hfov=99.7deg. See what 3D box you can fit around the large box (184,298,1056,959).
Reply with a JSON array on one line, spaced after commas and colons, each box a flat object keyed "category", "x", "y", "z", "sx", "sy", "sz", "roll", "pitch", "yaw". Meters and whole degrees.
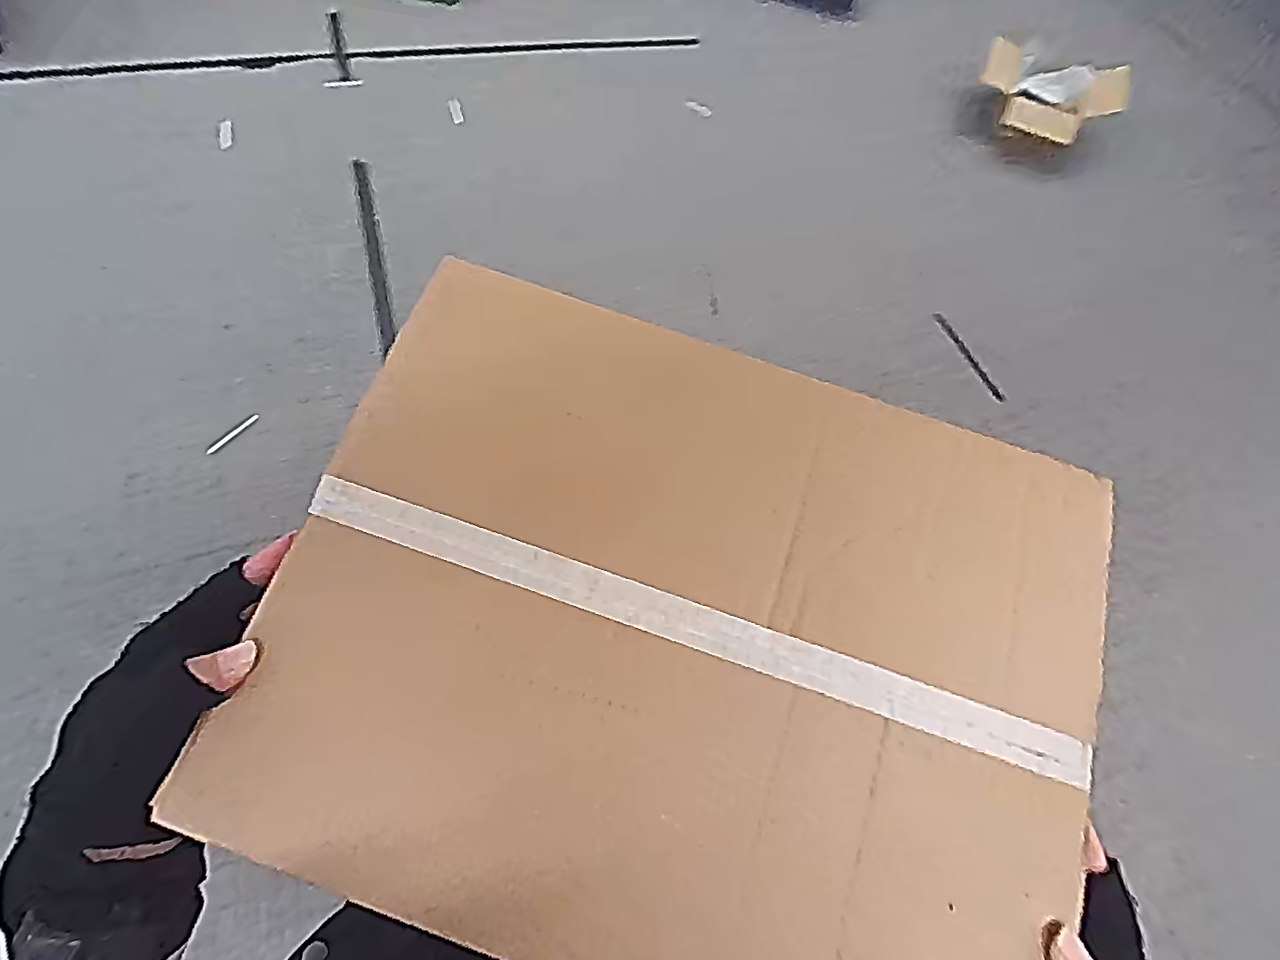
[{"category": "large box", "x": 0.009, "y": 0.122, "z": 0.430, "sx": 0.408, "sy": 0.320, "sz": 0.320, "roll": 18, "pitch": 74, "yaw": 2}]
